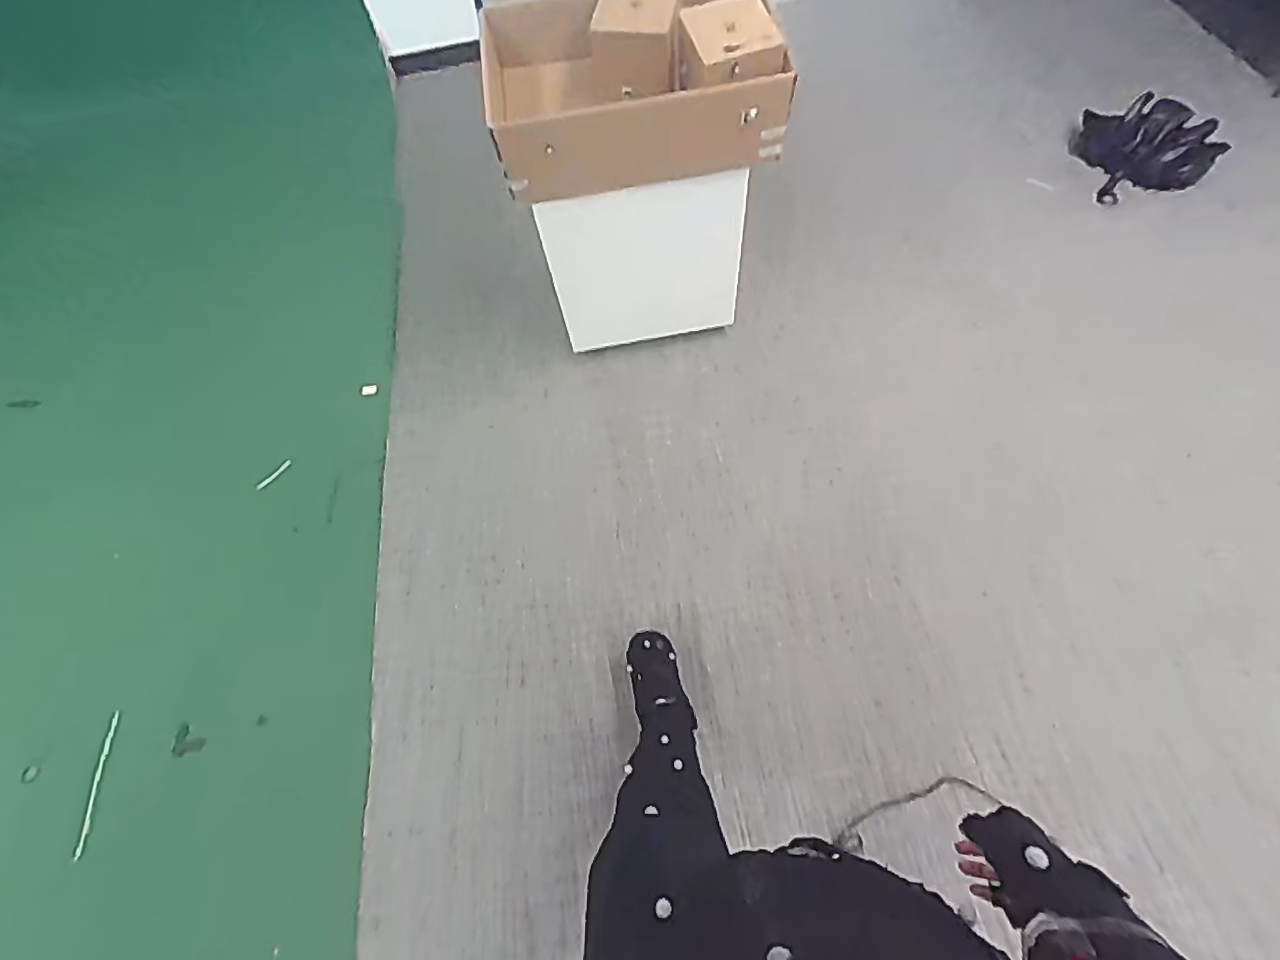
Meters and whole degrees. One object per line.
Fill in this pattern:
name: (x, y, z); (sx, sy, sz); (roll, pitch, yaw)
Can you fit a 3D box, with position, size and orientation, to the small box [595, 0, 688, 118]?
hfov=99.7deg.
small box: (0.010, -0.941, 1.189); (0.168, 0.176, 0.179); (9, 72, 9)
